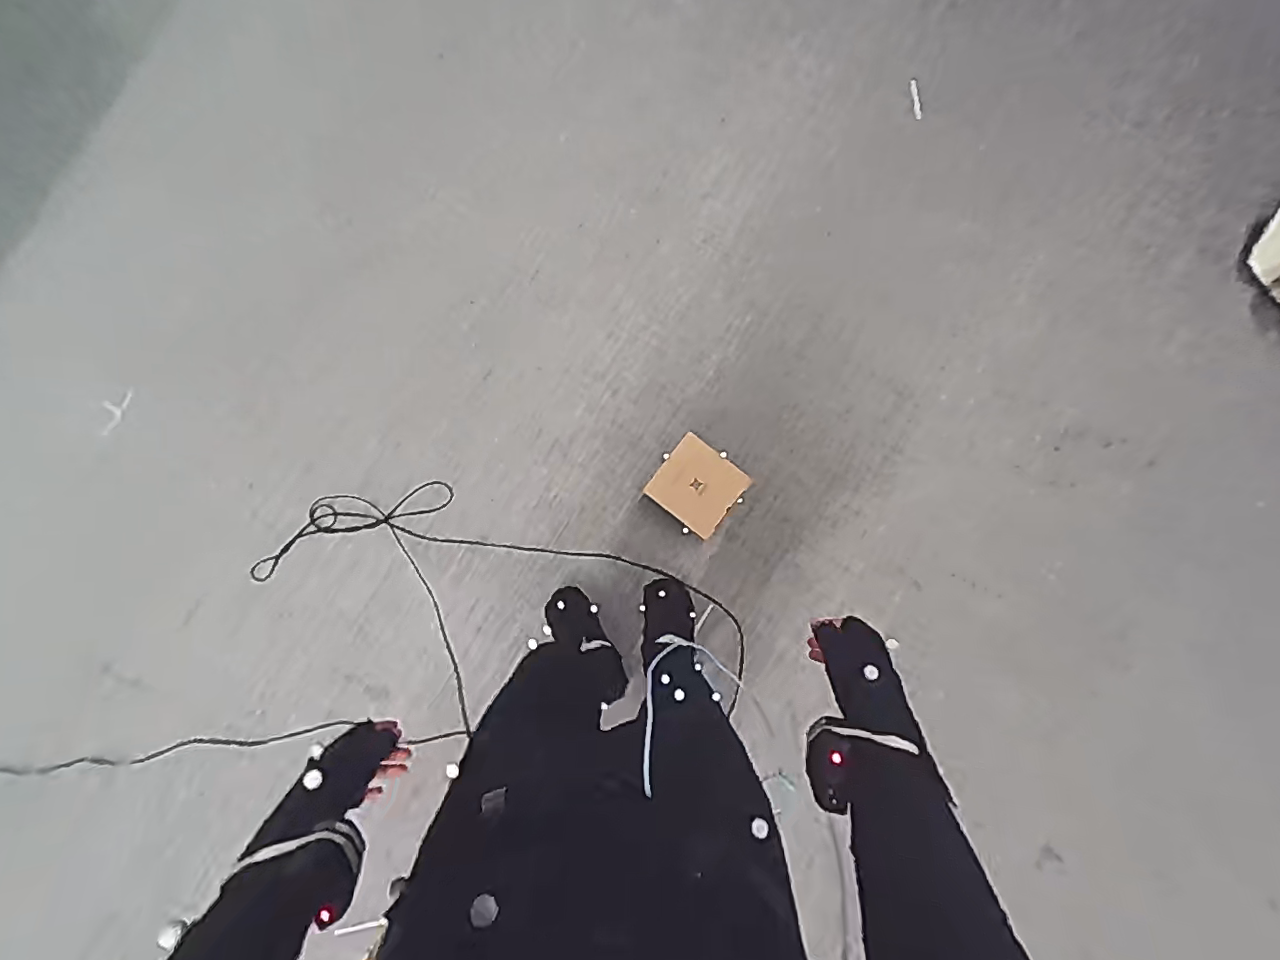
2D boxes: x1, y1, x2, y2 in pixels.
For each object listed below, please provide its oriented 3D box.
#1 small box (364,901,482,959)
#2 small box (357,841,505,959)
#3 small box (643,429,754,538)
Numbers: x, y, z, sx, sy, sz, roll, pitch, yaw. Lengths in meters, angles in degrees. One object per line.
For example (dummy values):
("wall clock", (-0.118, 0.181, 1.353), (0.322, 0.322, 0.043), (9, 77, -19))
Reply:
("small box", (-0.392, 0.857, 0.887), (0.179, 0.176, 0.168), (35, 91, 4))
("small box", (-0.392, 0.856, 1.050), (0.179, 0.176, 0.168), (35, 90, 4))
("small box", (0.125, 0.008, 1.210), (0.179, 0.176, 0.168), (38, 90, 3))
